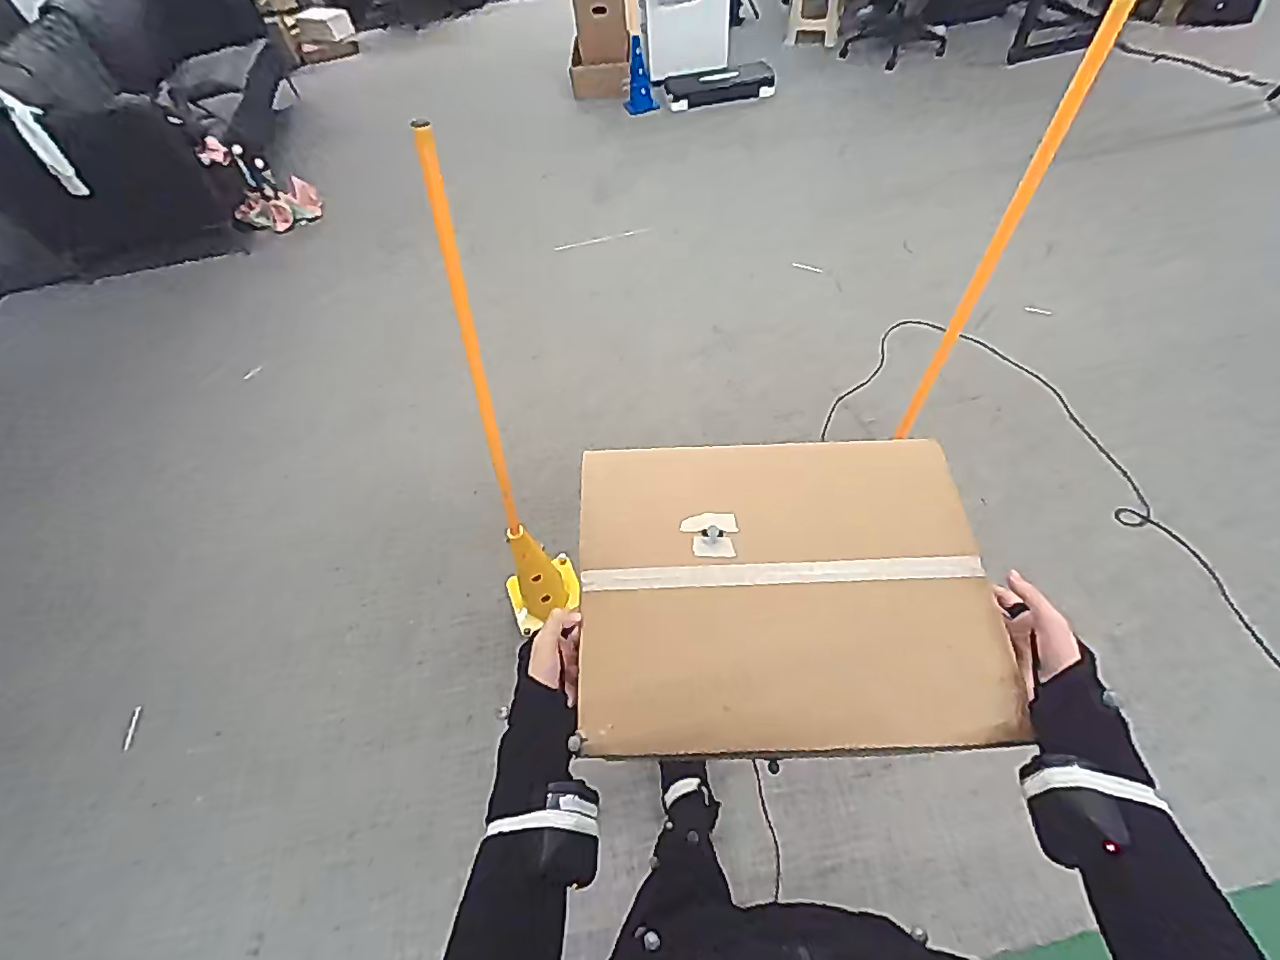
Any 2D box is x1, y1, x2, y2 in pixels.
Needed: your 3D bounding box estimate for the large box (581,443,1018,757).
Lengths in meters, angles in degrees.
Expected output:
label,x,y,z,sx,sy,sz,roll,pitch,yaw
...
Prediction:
label,x,y,z,sx,sy,sz,roll,pitch,yaw
large box,0.147,0.172,0.688,0.408,0.320,0.320,-3,61,2
